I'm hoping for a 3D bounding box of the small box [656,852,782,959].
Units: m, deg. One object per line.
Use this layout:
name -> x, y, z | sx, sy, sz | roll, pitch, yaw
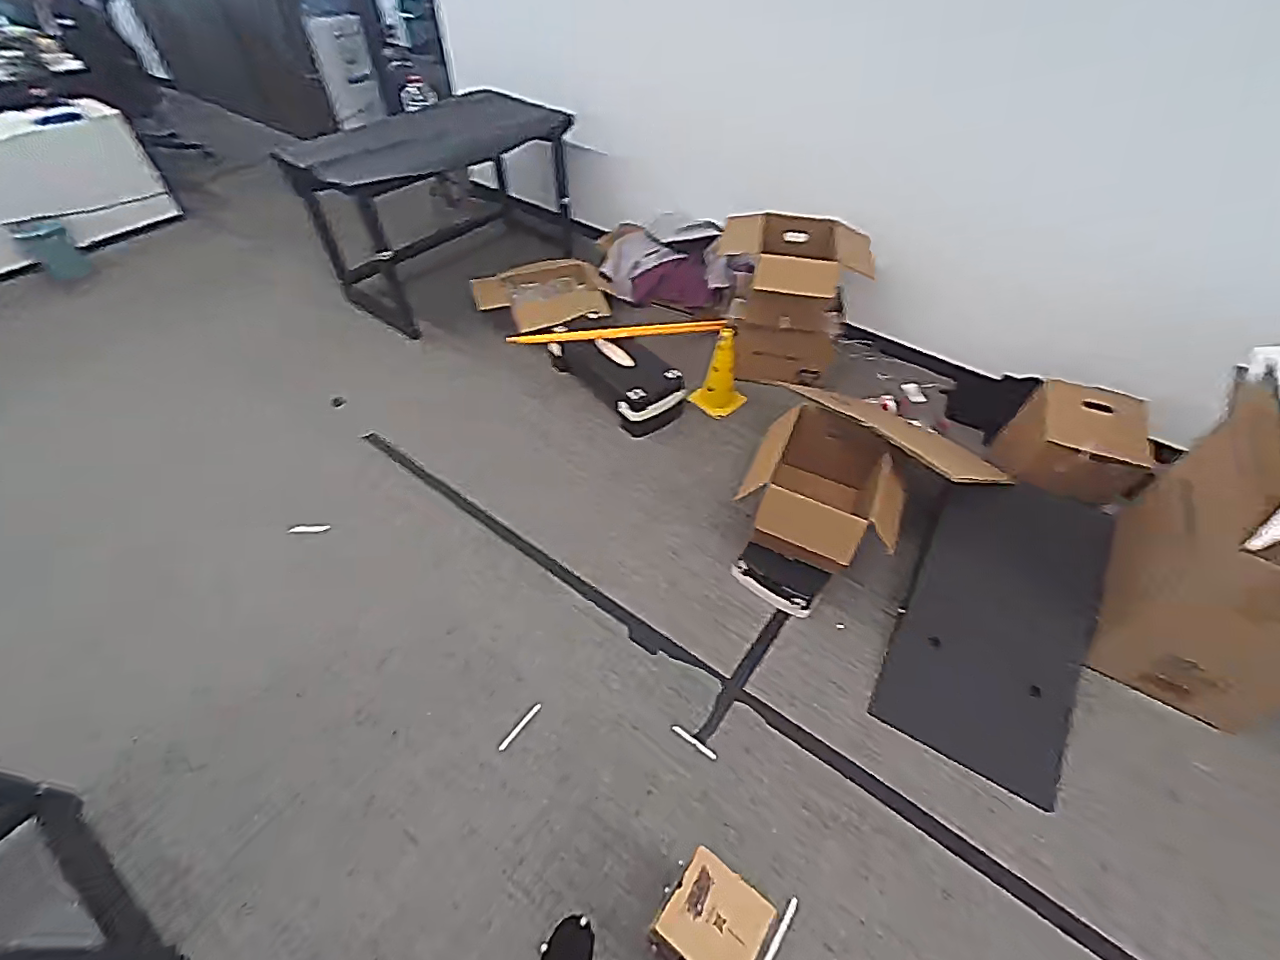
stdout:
small box -> 0.145, 0.876, 1.054 | 0.179, 0.176, 0.168 | 32, 55, 22
